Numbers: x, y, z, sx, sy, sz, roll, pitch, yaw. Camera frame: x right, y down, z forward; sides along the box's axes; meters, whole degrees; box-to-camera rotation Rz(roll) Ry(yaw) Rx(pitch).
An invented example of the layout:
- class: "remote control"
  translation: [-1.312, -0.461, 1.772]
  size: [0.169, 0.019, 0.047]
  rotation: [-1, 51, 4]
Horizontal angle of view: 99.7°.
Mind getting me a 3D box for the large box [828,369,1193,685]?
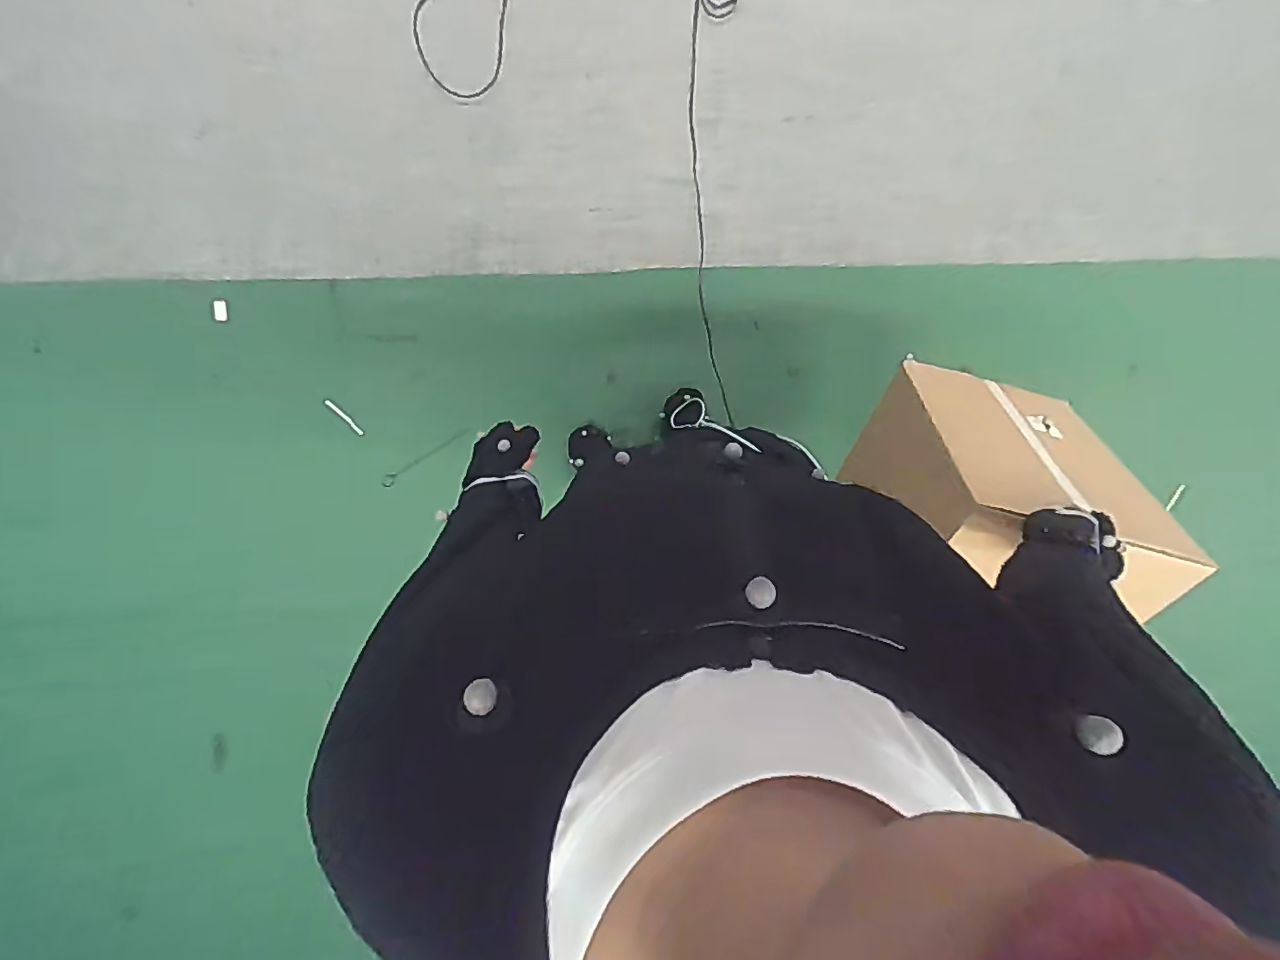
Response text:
- class: "large box"
  translation: [0.551, 0.068, 0.924]
  size: [0.320, 0.408, 0.320]
  rotation: [16, 129, -2]
